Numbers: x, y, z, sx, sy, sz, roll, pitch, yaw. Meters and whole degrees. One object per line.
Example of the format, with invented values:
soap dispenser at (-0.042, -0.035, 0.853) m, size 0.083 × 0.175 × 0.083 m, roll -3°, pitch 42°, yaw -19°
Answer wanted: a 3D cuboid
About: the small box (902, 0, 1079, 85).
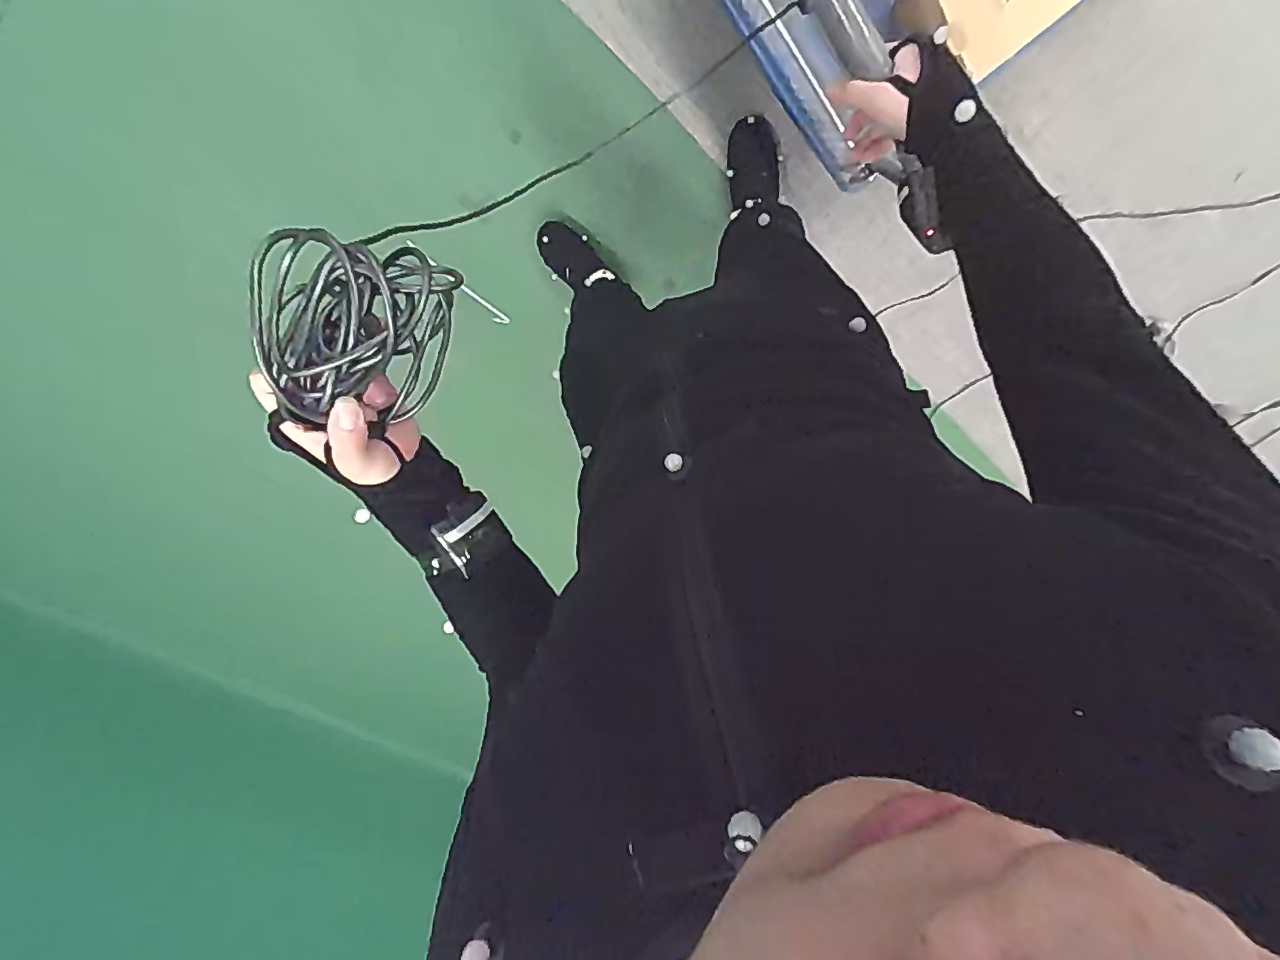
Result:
small box at (0.575, -0.805, 0.899) m, size 0.179 × 0.176 × 0.168 m, roll -34°, pitch 119°, yaw 25°
